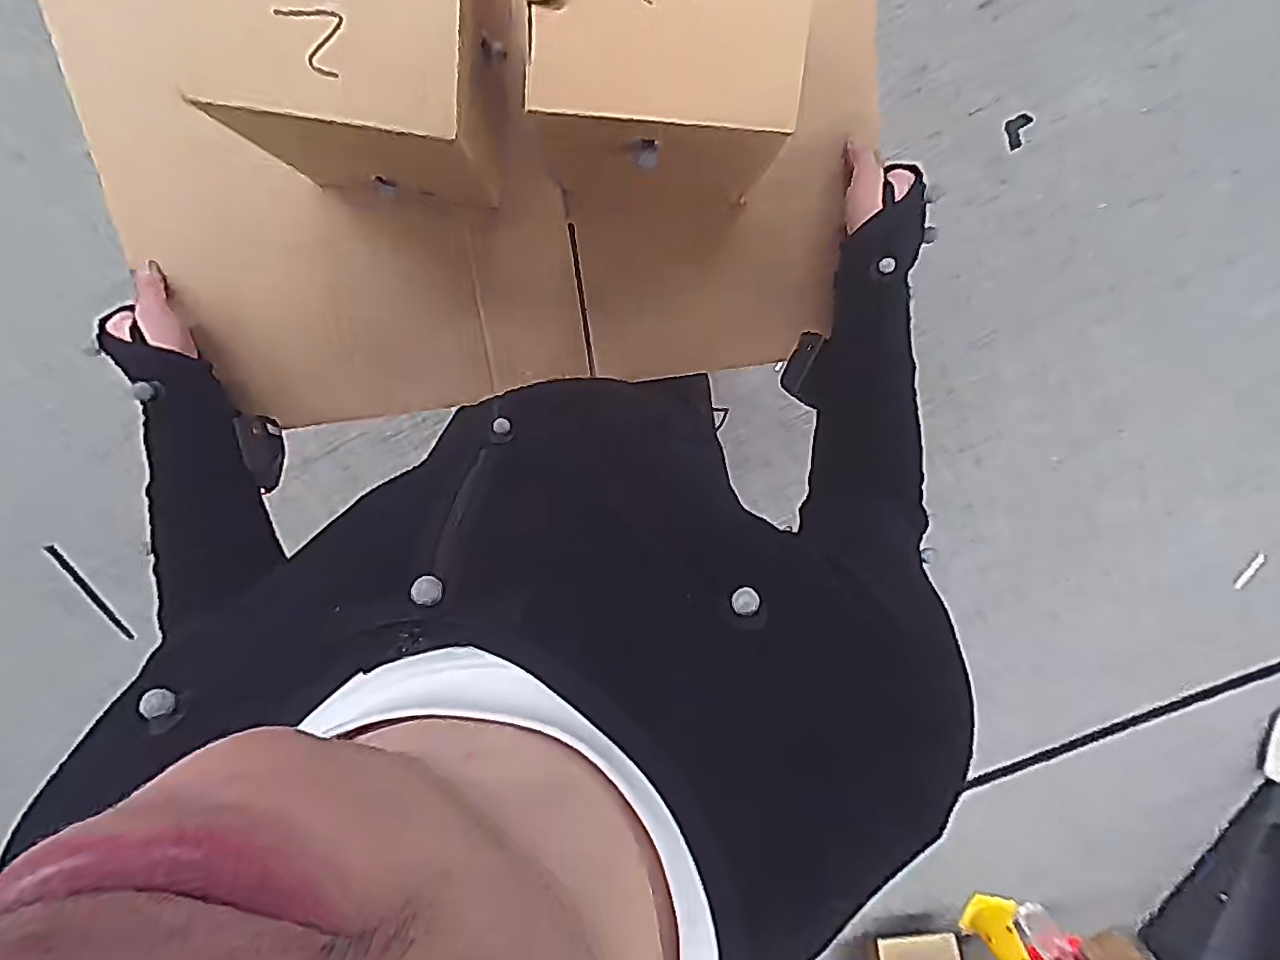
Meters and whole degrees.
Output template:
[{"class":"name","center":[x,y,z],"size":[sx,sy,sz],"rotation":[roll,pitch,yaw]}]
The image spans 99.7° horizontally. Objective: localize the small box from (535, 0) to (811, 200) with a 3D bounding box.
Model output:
[{"class":"small box","center":[0.024,-0.331,0.419],"size":[0.179,0.176,0.168],"rotation":[5,103,0]}]
